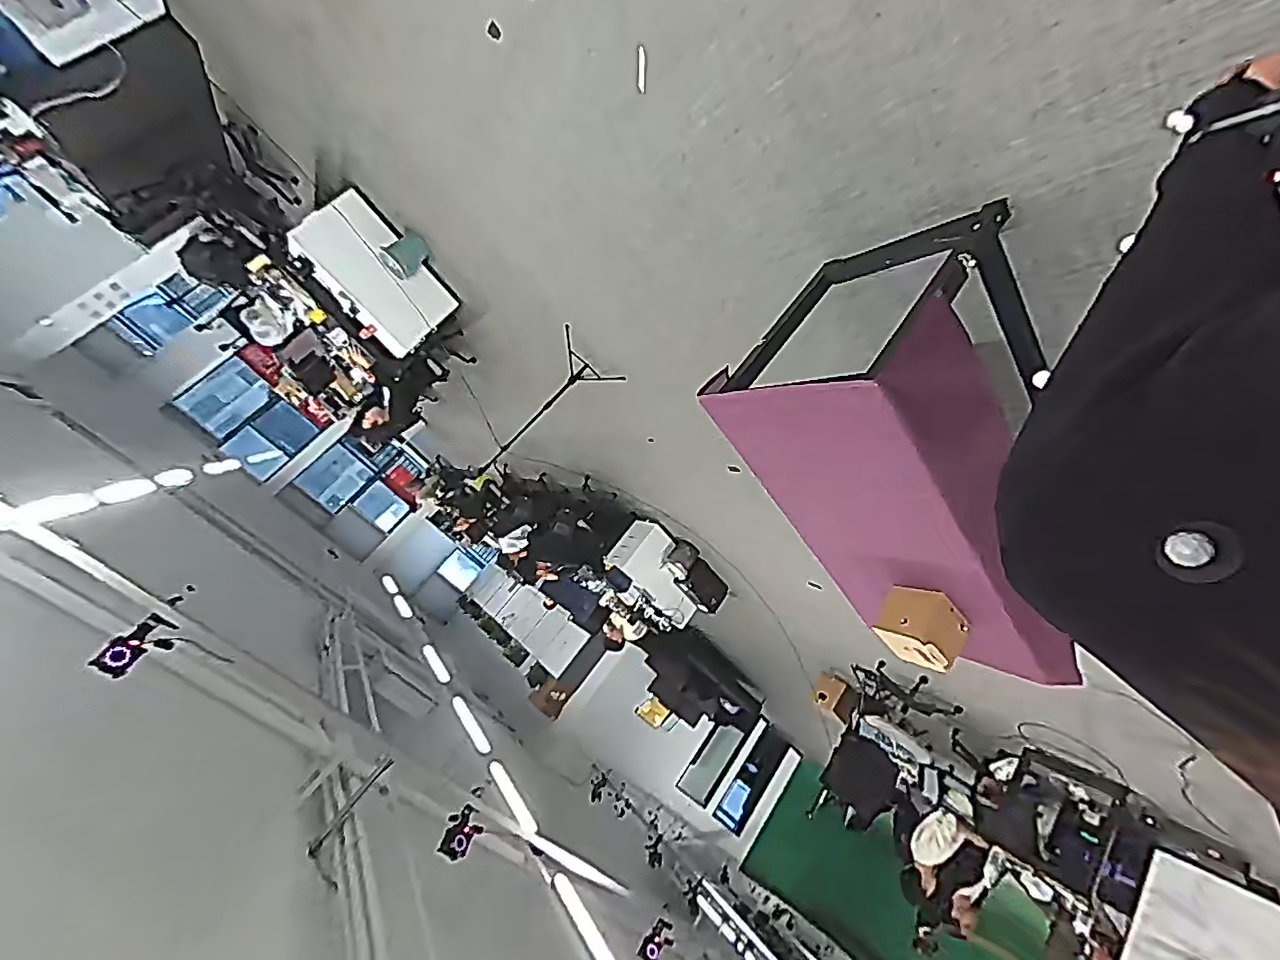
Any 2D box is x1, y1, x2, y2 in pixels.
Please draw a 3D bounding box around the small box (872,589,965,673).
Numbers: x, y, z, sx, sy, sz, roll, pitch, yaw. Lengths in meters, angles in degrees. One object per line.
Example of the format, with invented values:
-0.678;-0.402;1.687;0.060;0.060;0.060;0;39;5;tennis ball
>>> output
0.858;0.455;1.653;0.168;0.176;0.179;46;161;-16;small box
